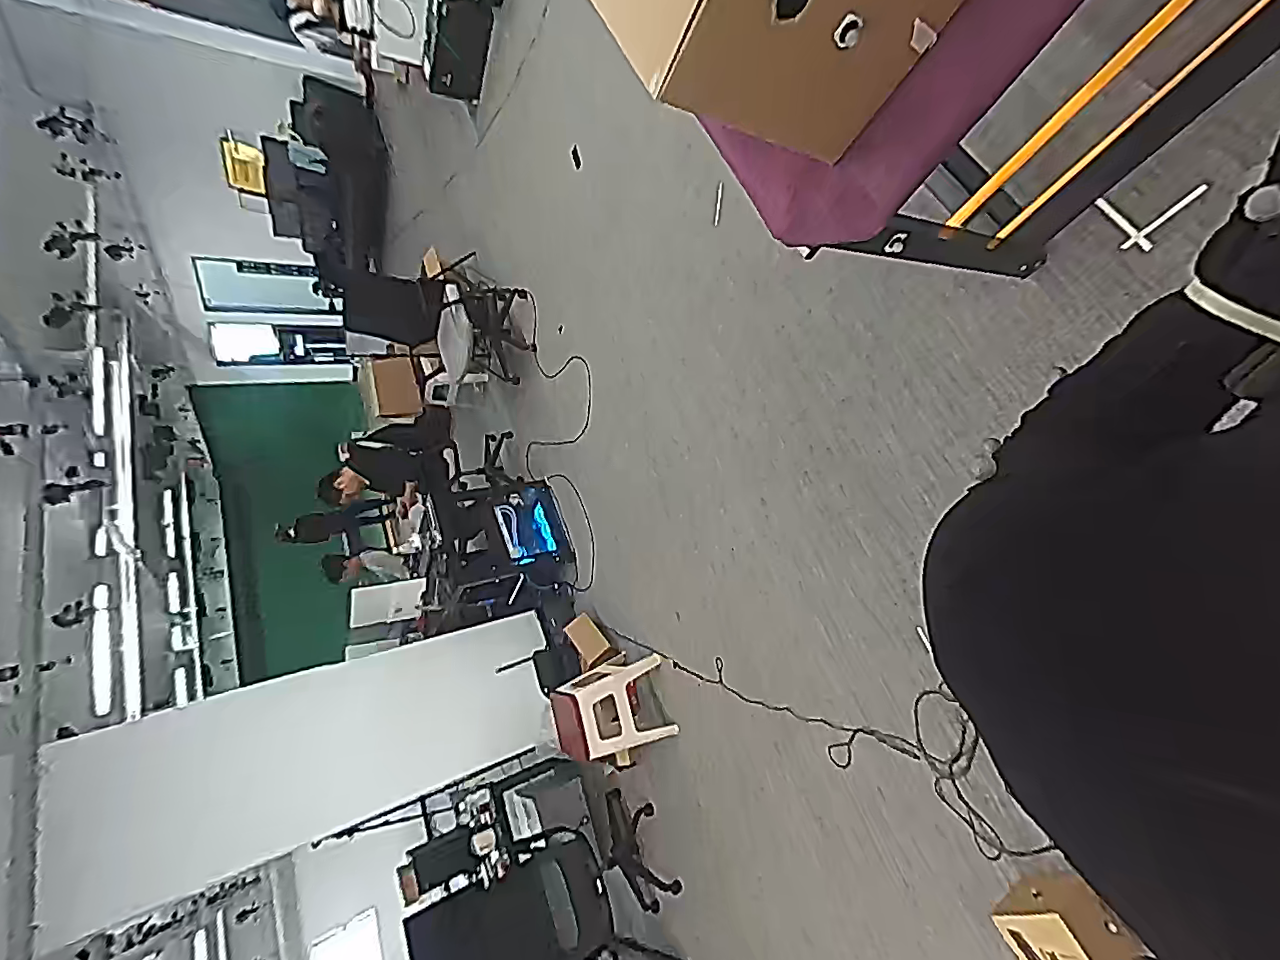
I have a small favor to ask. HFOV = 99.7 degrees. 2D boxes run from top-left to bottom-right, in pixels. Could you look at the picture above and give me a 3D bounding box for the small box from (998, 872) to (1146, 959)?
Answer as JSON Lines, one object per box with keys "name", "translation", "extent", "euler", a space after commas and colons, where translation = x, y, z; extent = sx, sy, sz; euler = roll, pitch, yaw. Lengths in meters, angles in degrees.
{"name": "small box", "translation": [0.977, 1.025, 1.224], "extent": [0.168, 0.176, 0.179], "euler": [62, 142, 26]}
